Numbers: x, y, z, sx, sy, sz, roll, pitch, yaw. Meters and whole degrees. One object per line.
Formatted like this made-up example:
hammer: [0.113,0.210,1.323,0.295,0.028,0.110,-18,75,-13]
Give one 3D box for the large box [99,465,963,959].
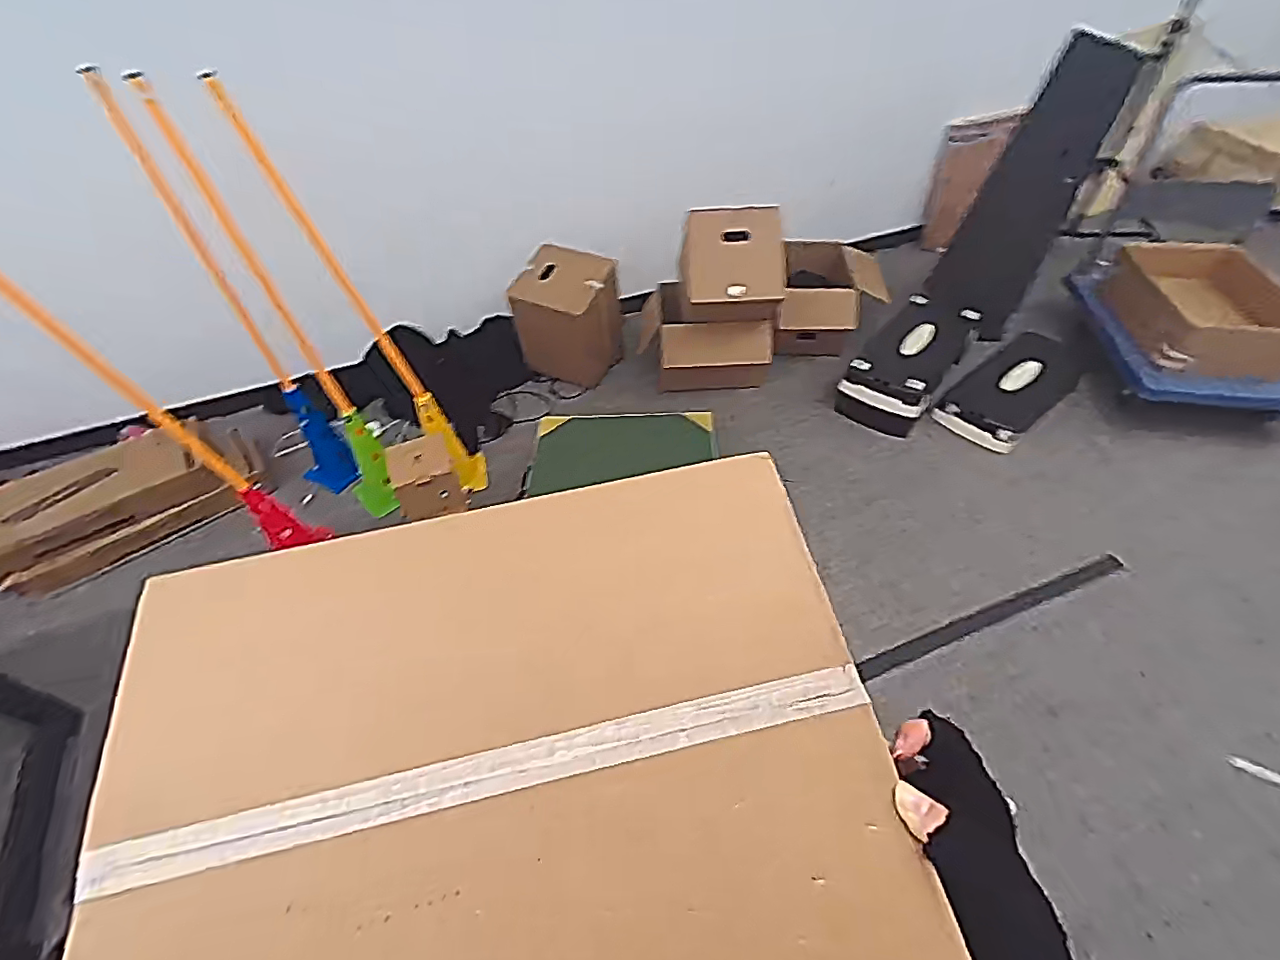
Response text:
large box: [-0.067,0.231,0.421,0.408,0.320,0.320,-11,62,-4]
